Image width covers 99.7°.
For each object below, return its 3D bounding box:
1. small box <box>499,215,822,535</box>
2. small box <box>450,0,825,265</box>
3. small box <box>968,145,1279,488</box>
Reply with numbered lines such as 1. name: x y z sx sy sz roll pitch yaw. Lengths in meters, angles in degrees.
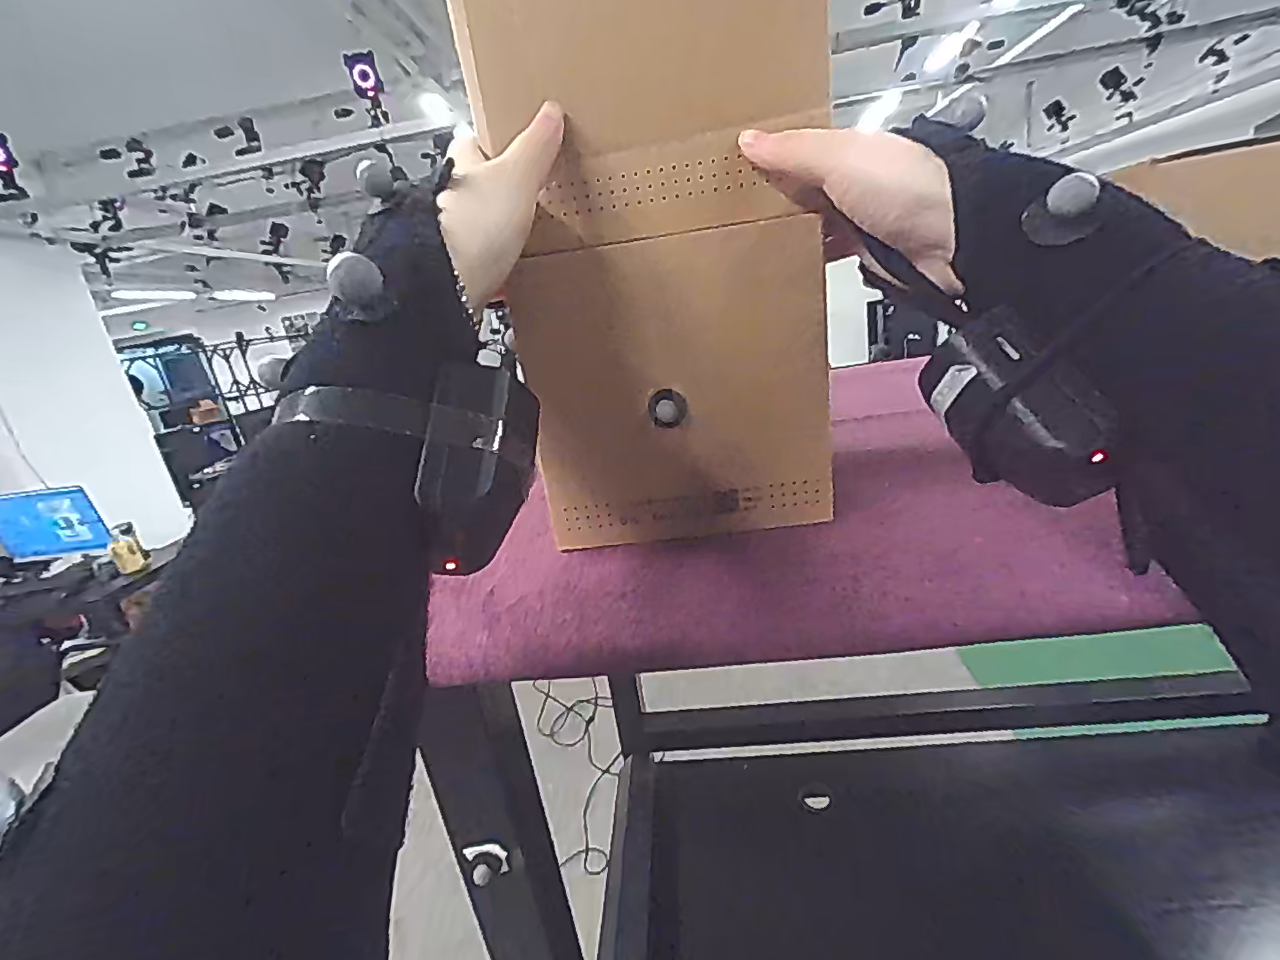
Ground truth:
1. small box: 0.022 -0.068 0.374 0.168 0.176 0.179 -6 18 5
2. small box: 0.001 -0.221 0.325 0.179 0.176 0.168 -6 19 4
3. small box: 0.340 -0.105 0.349 0.179 0.176 0.168 -8 17 5
